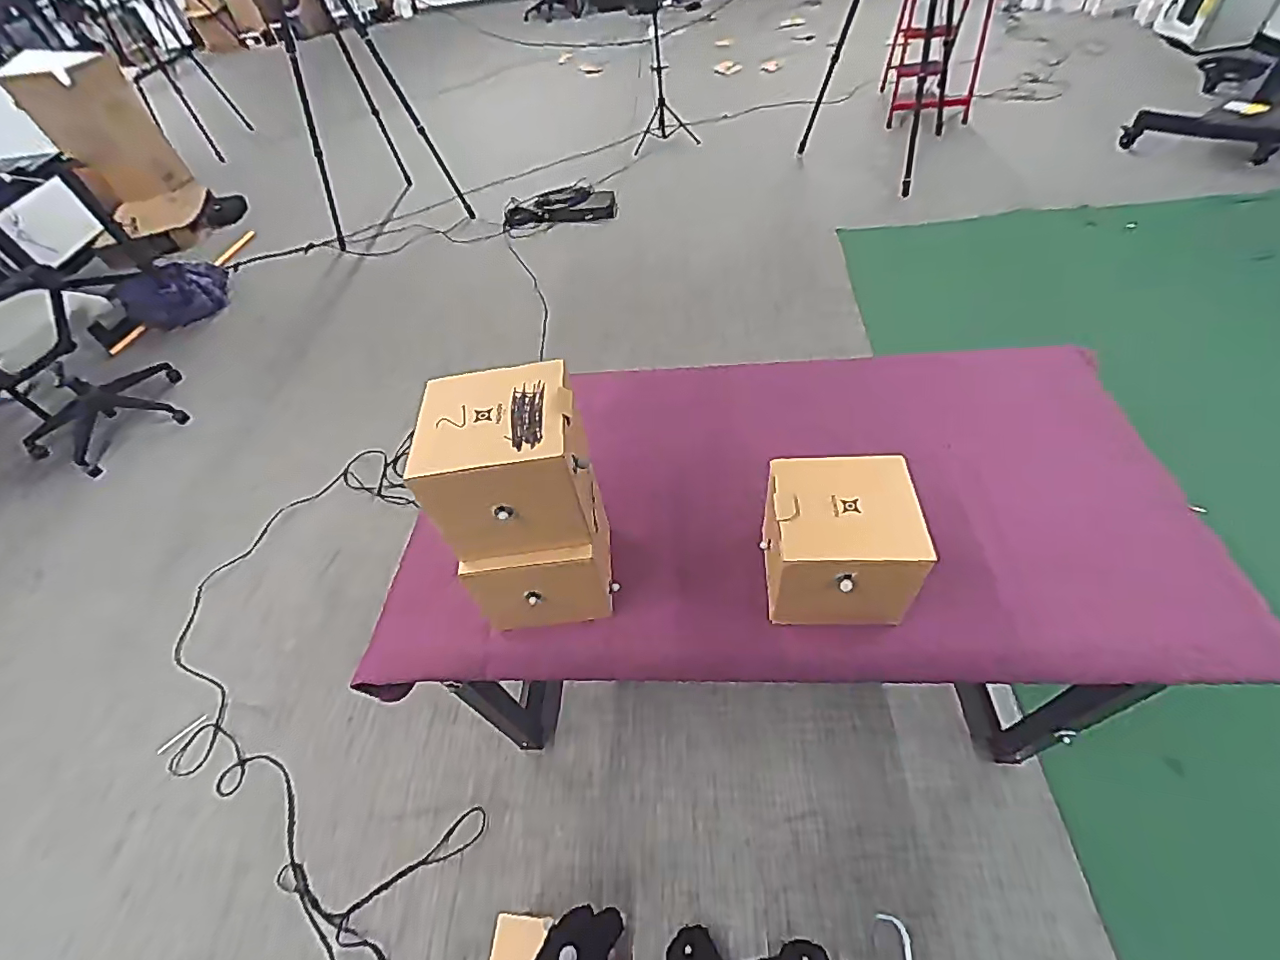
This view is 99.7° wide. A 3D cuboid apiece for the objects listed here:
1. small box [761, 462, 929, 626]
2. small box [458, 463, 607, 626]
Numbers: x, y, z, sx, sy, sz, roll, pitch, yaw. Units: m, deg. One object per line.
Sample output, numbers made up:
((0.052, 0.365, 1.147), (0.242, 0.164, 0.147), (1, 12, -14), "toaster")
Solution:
((0.266, 0.091, 0.749), (0.179, 0.176, 0.168), (-1, 50, 8), "small box")
((-0.142, 0.098, 0.793), (0.179, 0.176, 0.168), (-7, 50, 3), "small box")
